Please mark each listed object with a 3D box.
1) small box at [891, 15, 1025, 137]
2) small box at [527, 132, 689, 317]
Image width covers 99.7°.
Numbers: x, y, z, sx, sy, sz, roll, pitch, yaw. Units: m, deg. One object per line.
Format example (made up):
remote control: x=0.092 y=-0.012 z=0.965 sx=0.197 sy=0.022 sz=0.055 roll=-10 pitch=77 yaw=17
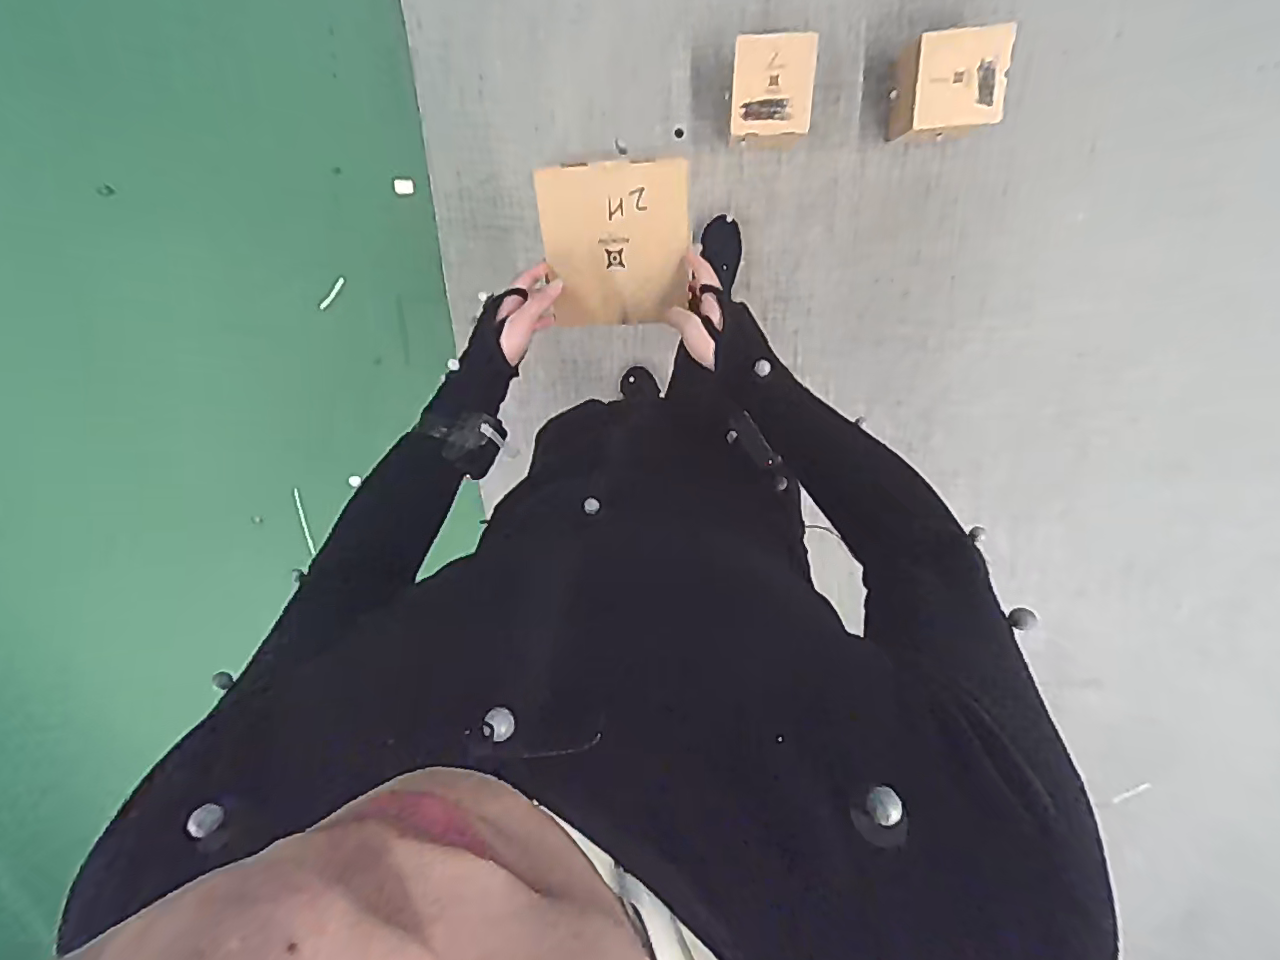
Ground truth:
small box: x=0.650 y=-0.831 z=1.127 sx=0.179 sy=0.176 sz=0.168 roll=0 pitch=113 yaw=8
small box: x=-0.025 y=-0.316 z=0.665 sx=0.168 sy=0.176 sz=0.179 roll=1 pitch=125 yaw=6
